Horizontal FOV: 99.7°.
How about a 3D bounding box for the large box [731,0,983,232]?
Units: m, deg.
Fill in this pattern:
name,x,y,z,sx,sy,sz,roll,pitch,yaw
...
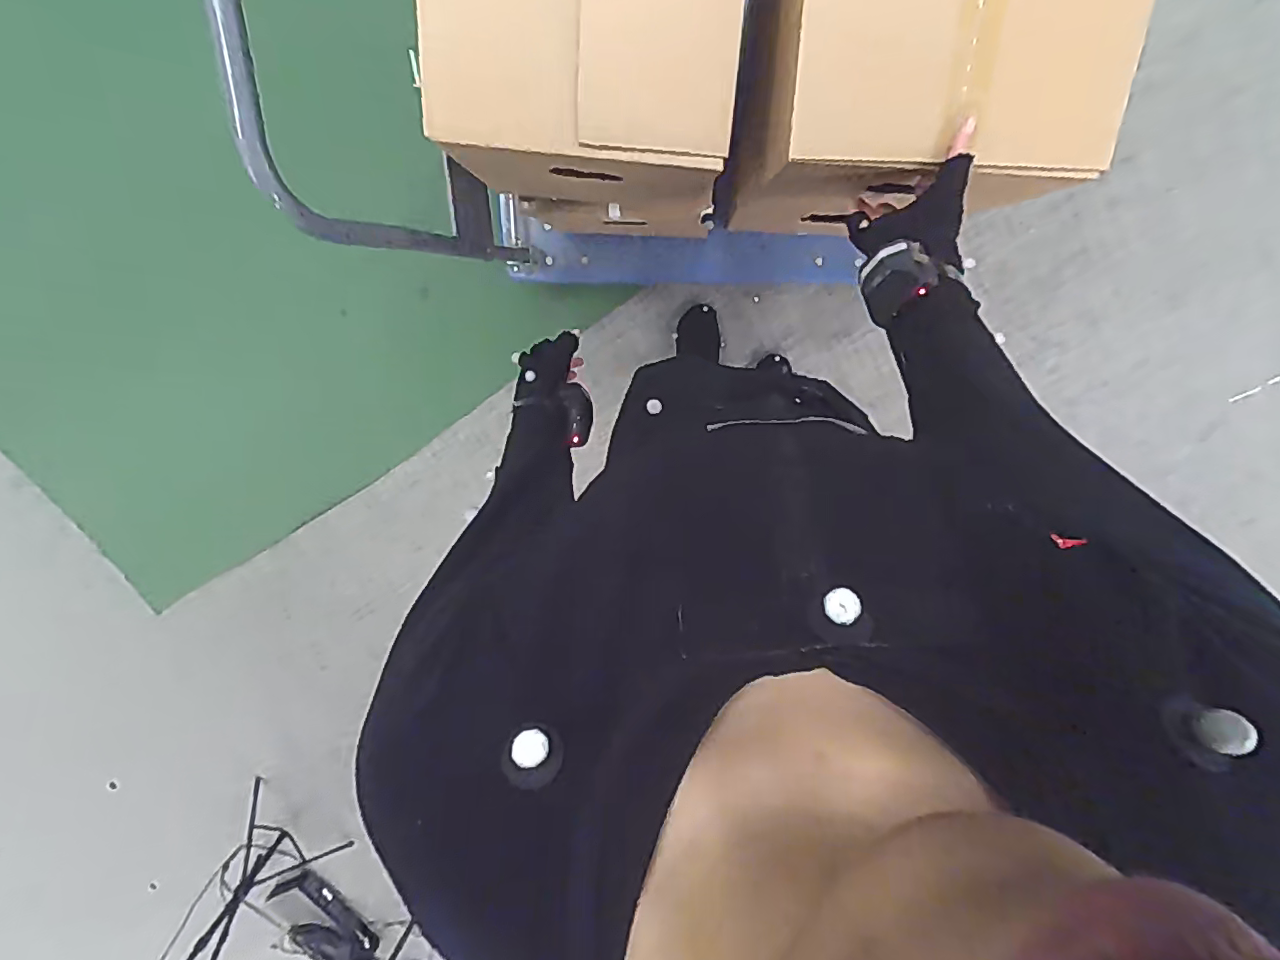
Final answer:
name,x,y,z,sx,sy,sz,roll,pitch,yaw
large box,0.327,-0.651,0.906,0.320,0.320,0.408,4,111,6
